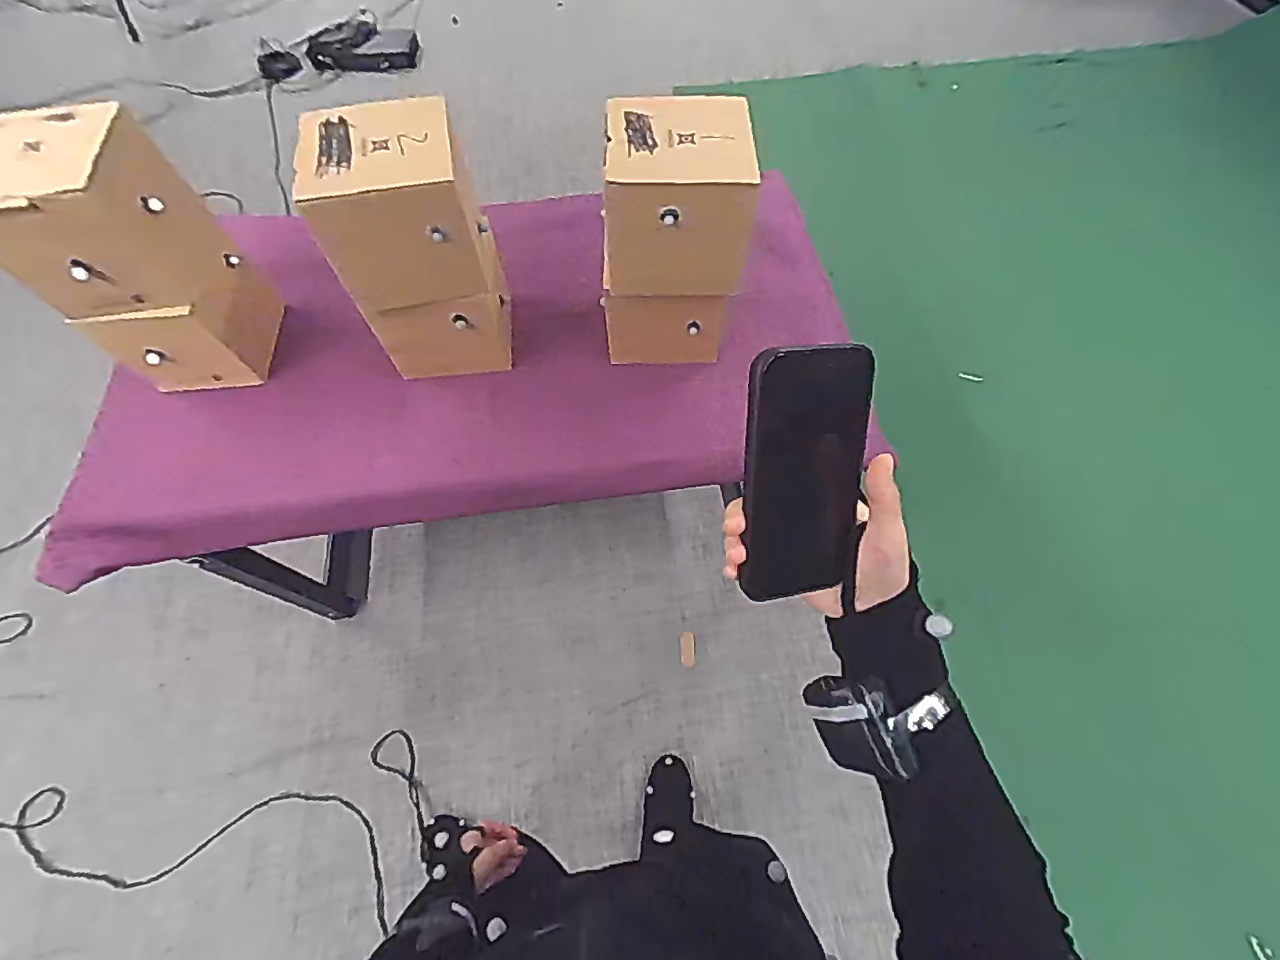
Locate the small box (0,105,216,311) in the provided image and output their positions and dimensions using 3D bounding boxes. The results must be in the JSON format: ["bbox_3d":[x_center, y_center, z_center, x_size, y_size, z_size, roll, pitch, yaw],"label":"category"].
[{"bbox_3d":[-0.695,-0.339,0.699,0.168,0.176,0.179,-10,65,-5],"label":"small box"}]

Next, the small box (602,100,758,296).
[{"bbox_3d":[0.046,-0.359,0.704,0.179,0.176,0.168,0,63,0],"label":"small box"}]

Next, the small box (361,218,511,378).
[{"bbox_3d":[-0.303,-0.278,0.848,0.179,0.176,0.168,-6,64,-2],"label":"small box"}]

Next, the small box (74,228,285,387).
[{"bbox_3d":[-0.694,-0.258,0.842,0.168,0.176,0.179,-5,64,-2],"label":"small box"}]

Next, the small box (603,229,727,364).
[{"bbox_3d":[0.037,-0.299,0.857,0.179,0.176,0.168,0,63,1],"label":"small box"}]
